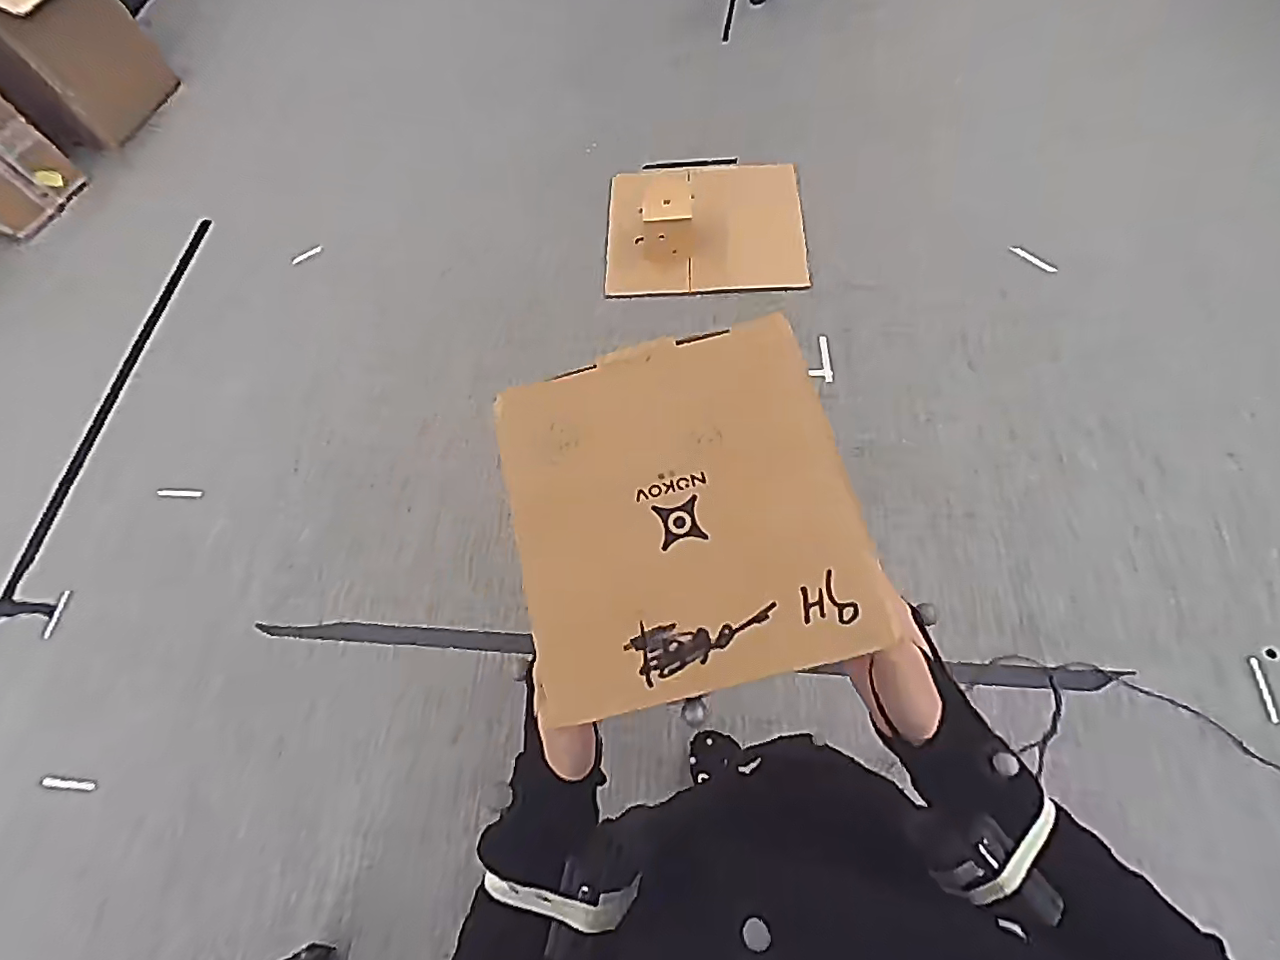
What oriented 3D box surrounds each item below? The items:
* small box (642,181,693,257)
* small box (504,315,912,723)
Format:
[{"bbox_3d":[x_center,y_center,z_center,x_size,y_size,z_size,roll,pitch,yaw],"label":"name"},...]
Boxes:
[{"bbox_3d":[0.097,-0.891,1.863,0.168,0.176,0.179,-3,66,4],"label":"small box"},{"bbox_3d":[0.032,0.034,0.339,0.168,0.176,0.179,-15,72,4],"label":"small box"}]
